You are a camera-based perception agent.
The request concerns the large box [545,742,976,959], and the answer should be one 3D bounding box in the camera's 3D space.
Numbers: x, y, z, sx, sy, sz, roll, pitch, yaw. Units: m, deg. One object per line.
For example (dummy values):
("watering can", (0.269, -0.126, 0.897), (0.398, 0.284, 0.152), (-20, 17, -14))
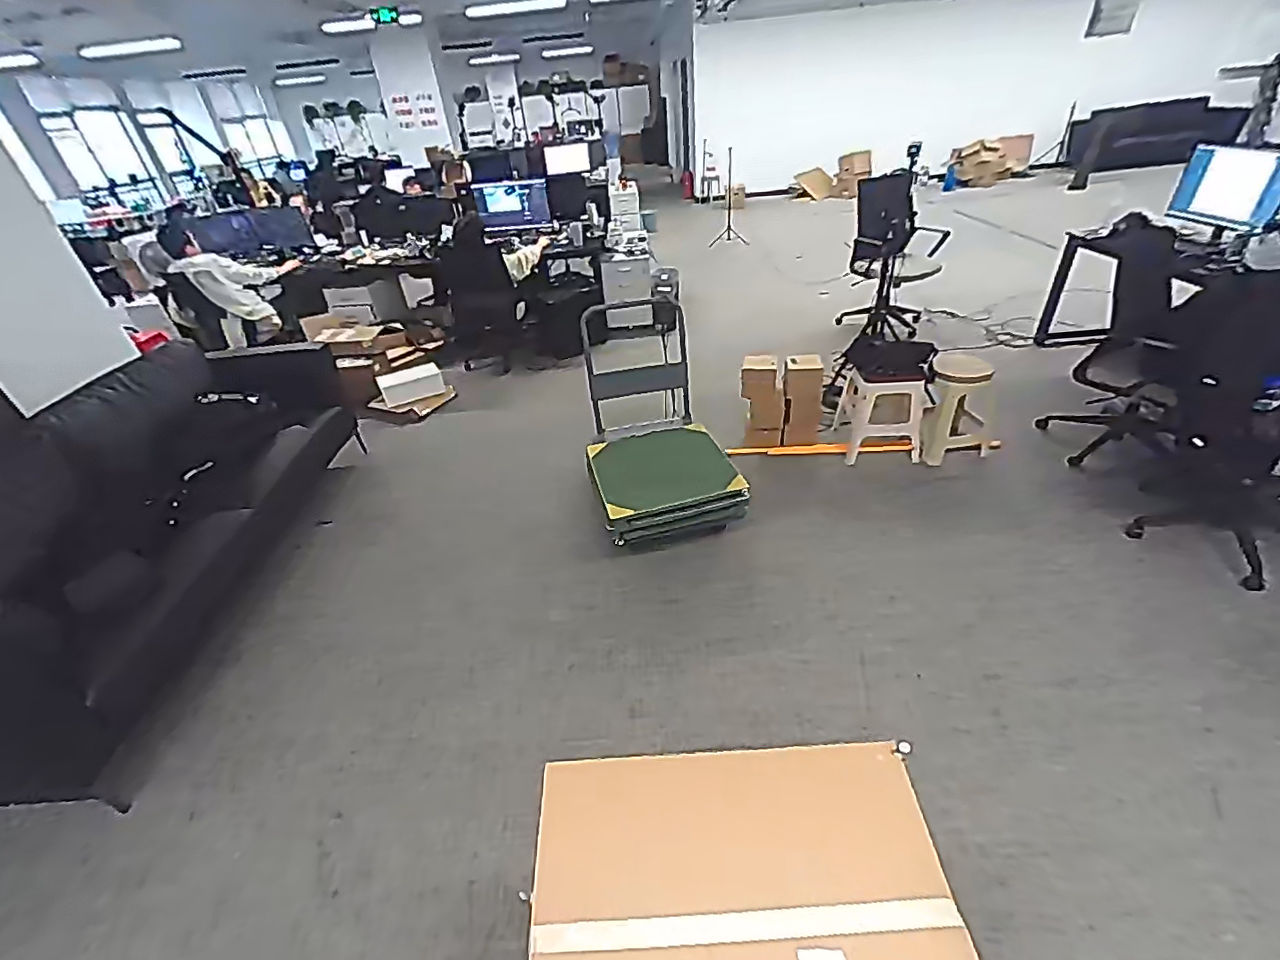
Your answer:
("large box", (0.113, 0.534, 0.618), (0.408, 0.320, 0.320), (-4, 44, 0))
